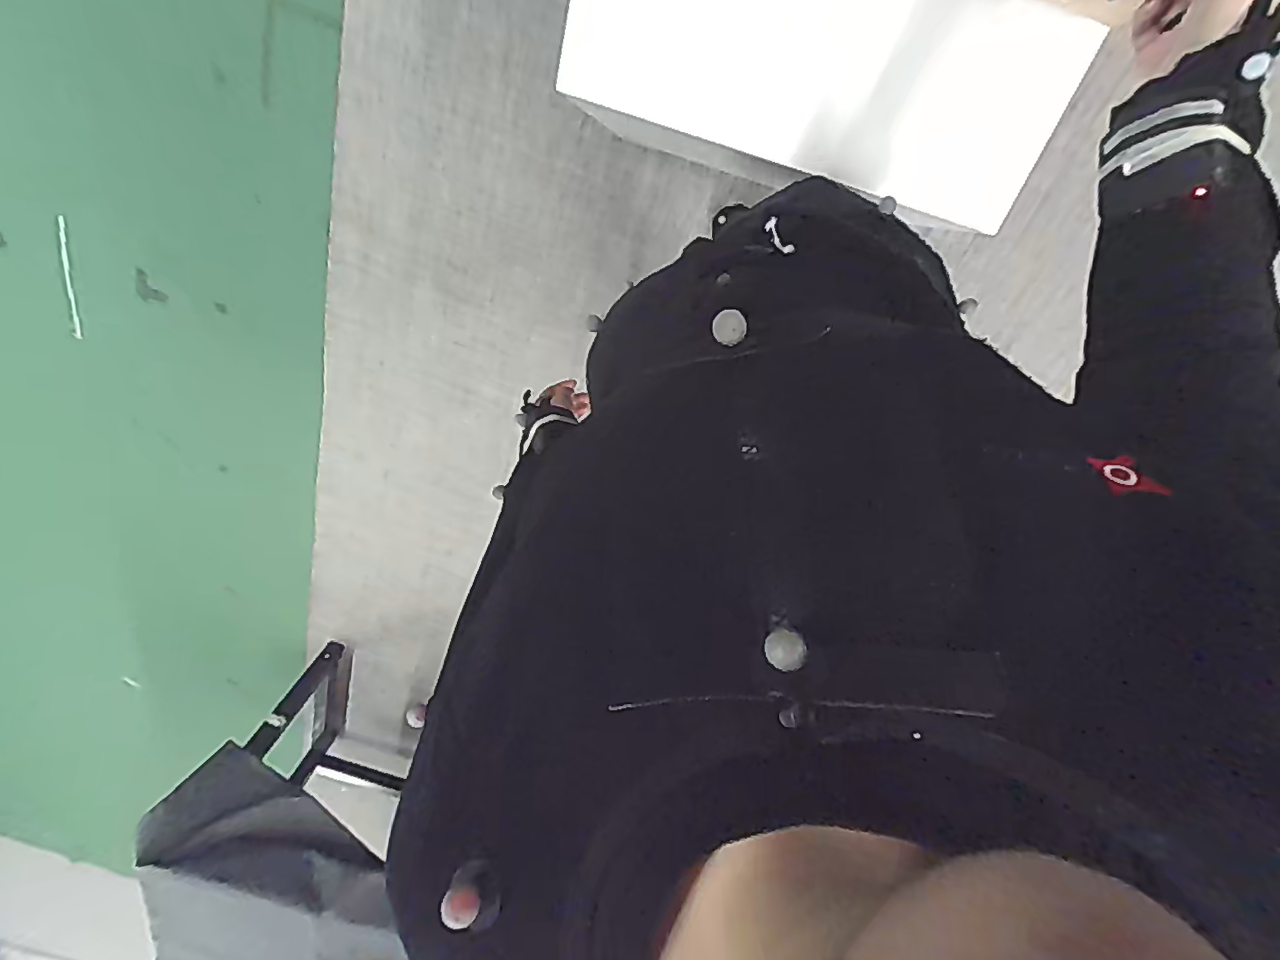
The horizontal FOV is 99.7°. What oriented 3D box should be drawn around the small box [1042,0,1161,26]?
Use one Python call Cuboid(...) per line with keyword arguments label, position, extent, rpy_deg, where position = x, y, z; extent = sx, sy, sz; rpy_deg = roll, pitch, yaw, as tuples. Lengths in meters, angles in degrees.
Cuboid(label="small box", position=(0.361, -0.465, 0.378), extent=(0.168, 0.176, 0.179), rpy_deg=(22, 119, -1))
